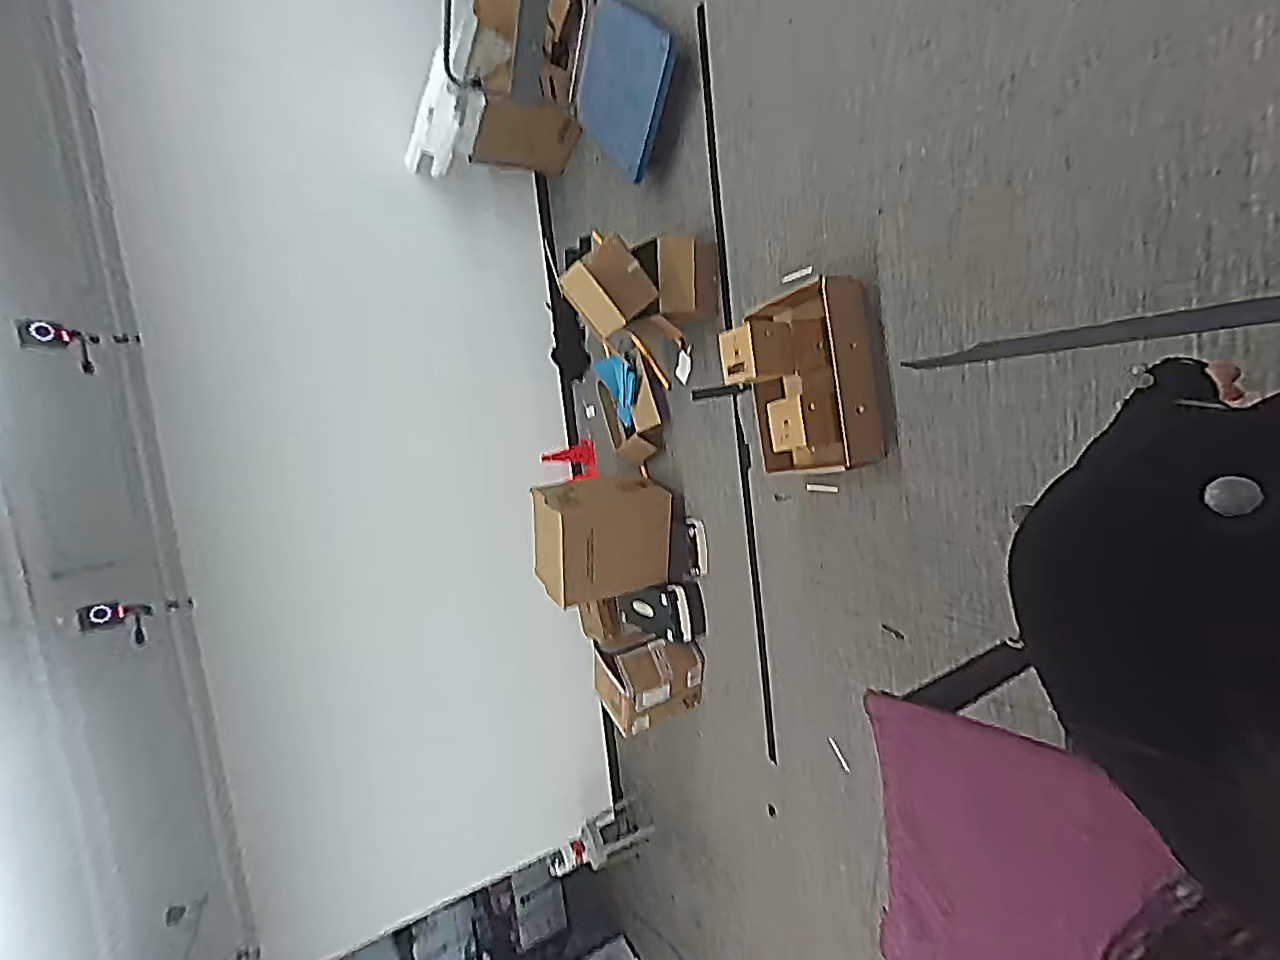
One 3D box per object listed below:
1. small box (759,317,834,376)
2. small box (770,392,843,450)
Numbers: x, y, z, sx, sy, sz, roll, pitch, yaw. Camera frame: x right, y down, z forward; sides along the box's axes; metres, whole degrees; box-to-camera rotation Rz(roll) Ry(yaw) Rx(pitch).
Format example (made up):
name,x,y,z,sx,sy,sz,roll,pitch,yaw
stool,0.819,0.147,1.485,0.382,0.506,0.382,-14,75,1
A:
name,x,y,z,sx,sy,sz,roll,pitch,yaw
small box,0.544,-0.463,1.884,0.179,0.176,0.168,-6,95,62
small box,0.581,-0.207,1.890,0.168,0.176,0.179,-10,89,63
